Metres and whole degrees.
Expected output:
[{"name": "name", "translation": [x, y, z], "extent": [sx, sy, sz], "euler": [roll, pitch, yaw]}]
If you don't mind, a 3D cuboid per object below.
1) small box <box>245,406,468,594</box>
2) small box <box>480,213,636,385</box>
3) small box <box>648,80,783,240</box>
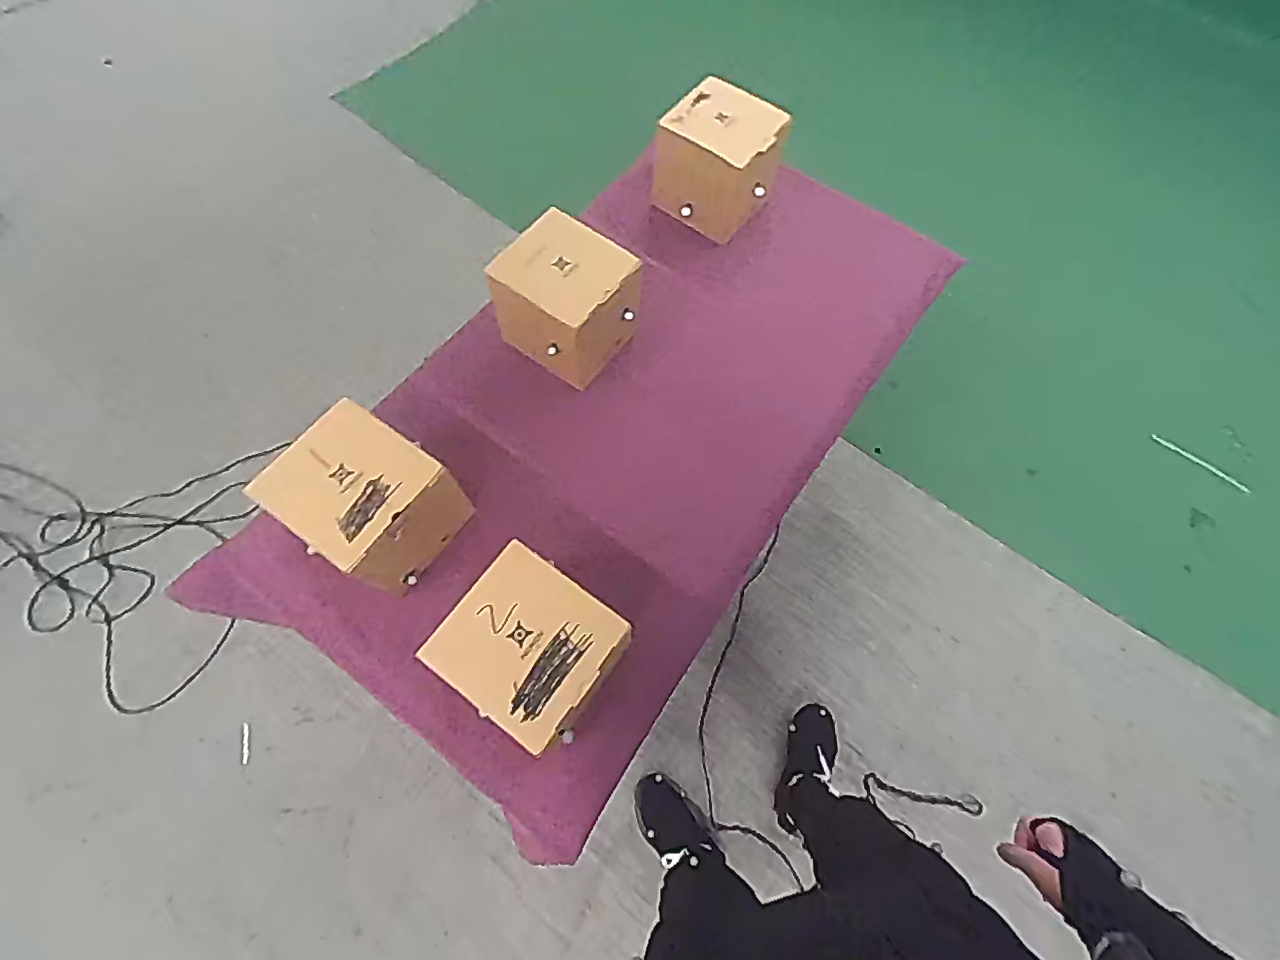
[{"name": "small box", "translation": [-0.365, 0.038, 0.736], "extent": [0.179, 0.176, 0.168], "euler": [33, 70, 11]}, {"name": "small box", "translation": [-0.123, -0.281, 0.877], "extent": [0.179, 0.176, 0.168], "euler": [34, 70, 11]}, {"name": "small box", "translation": [0.132, -0.583, 1.006], "extent": [0.179, 0.176, 0.168], "euler": [35, 71, 11]}]
